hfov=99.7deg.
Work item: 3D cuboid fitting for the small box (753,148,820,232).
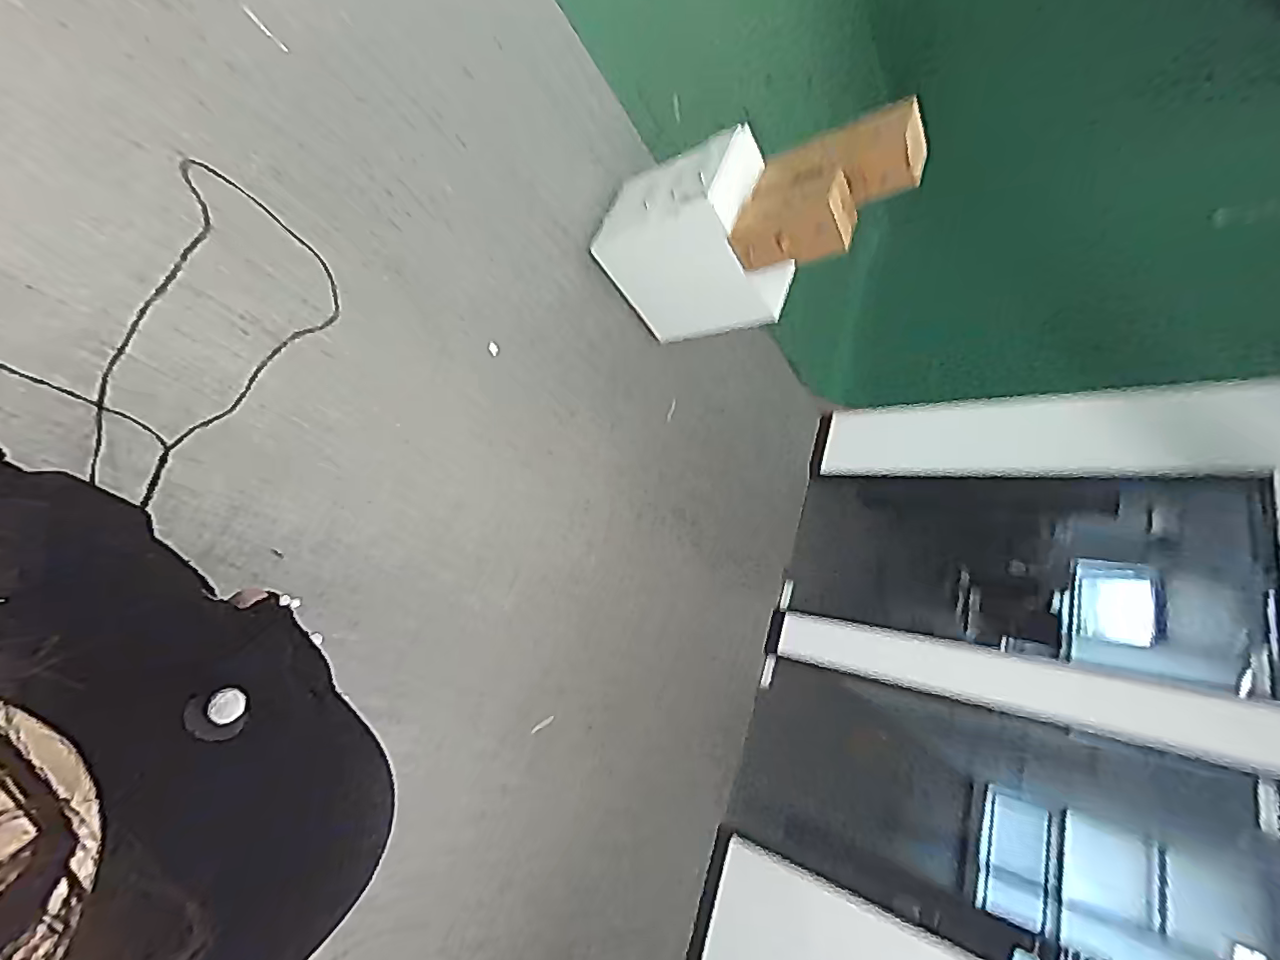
[{"bbox_3d":[0.511,-0.996,1.868,0.168,0.176,0.179,43,62,-41],"label":"small box"}]

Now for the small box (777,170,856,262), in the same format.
[{"bbox_3d":[0.541,-0.801,1.662,0.179,0.176,0.168,45,59,-41],"label":"small box"}]

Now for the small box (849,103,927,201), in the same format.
[{"bbox_3d":[0.753,-0.990,1.646,0.168,0.176,0.179,45,59,-42],"label":"small box"}]
